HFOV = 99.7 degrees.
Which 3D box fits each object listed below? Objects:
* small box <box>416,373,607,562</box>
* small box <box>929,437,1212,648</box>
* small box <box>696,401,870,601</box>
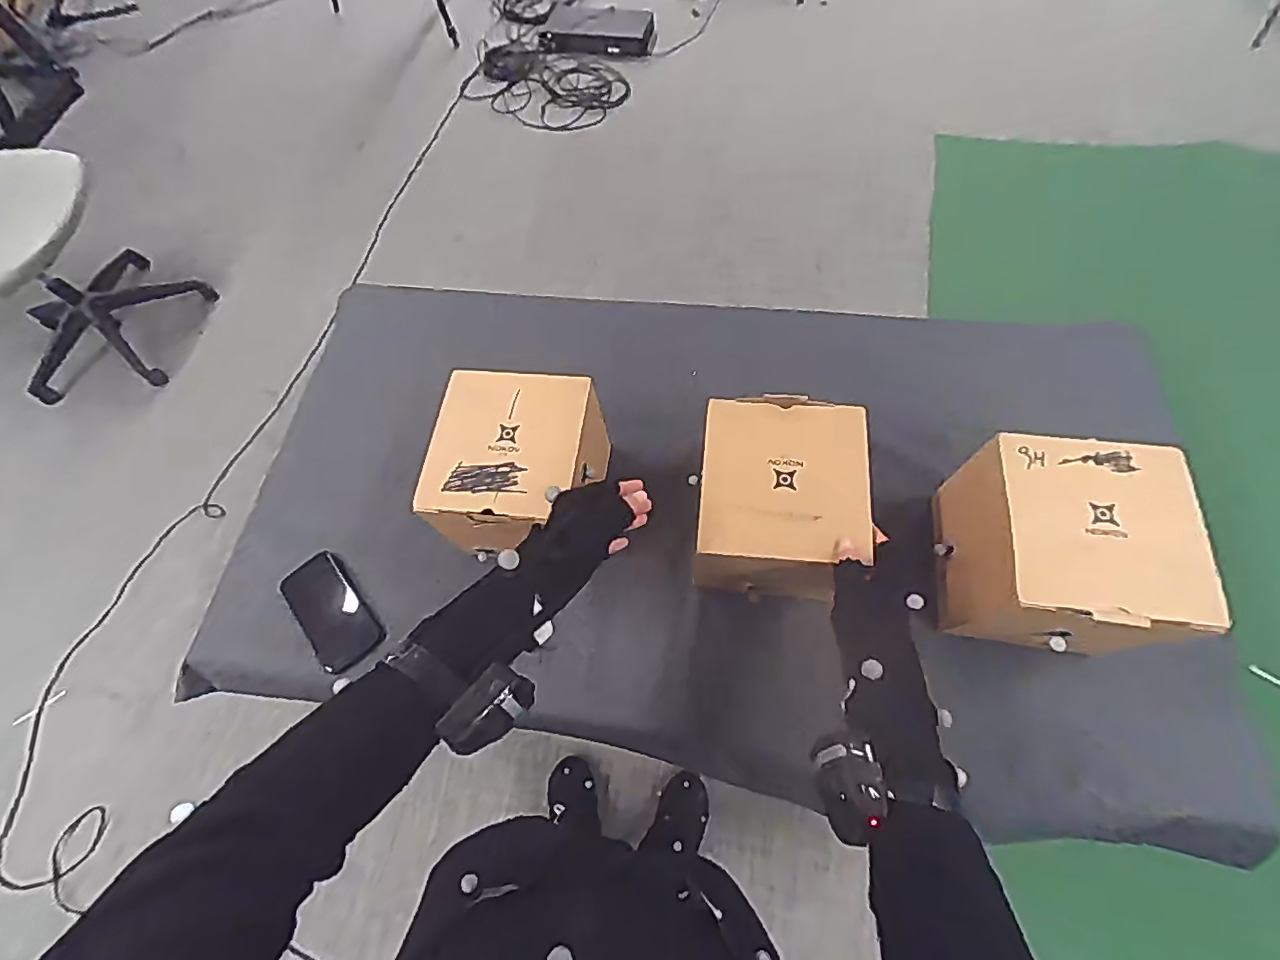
[{"bbox_3d":[-0.138,-0.007,0.660,0.168,0.176,0.179,5,66,6],"label":"small box"},{"bbox_3d":[0.429,0.075,0.576,0.168,0.176,0.179,6,67,8],"label":"small box"},{"bbox_3d":[0.152,0.030,0.622,0.168,0.176,0.179,3,68,7],"label":"small box"}]
